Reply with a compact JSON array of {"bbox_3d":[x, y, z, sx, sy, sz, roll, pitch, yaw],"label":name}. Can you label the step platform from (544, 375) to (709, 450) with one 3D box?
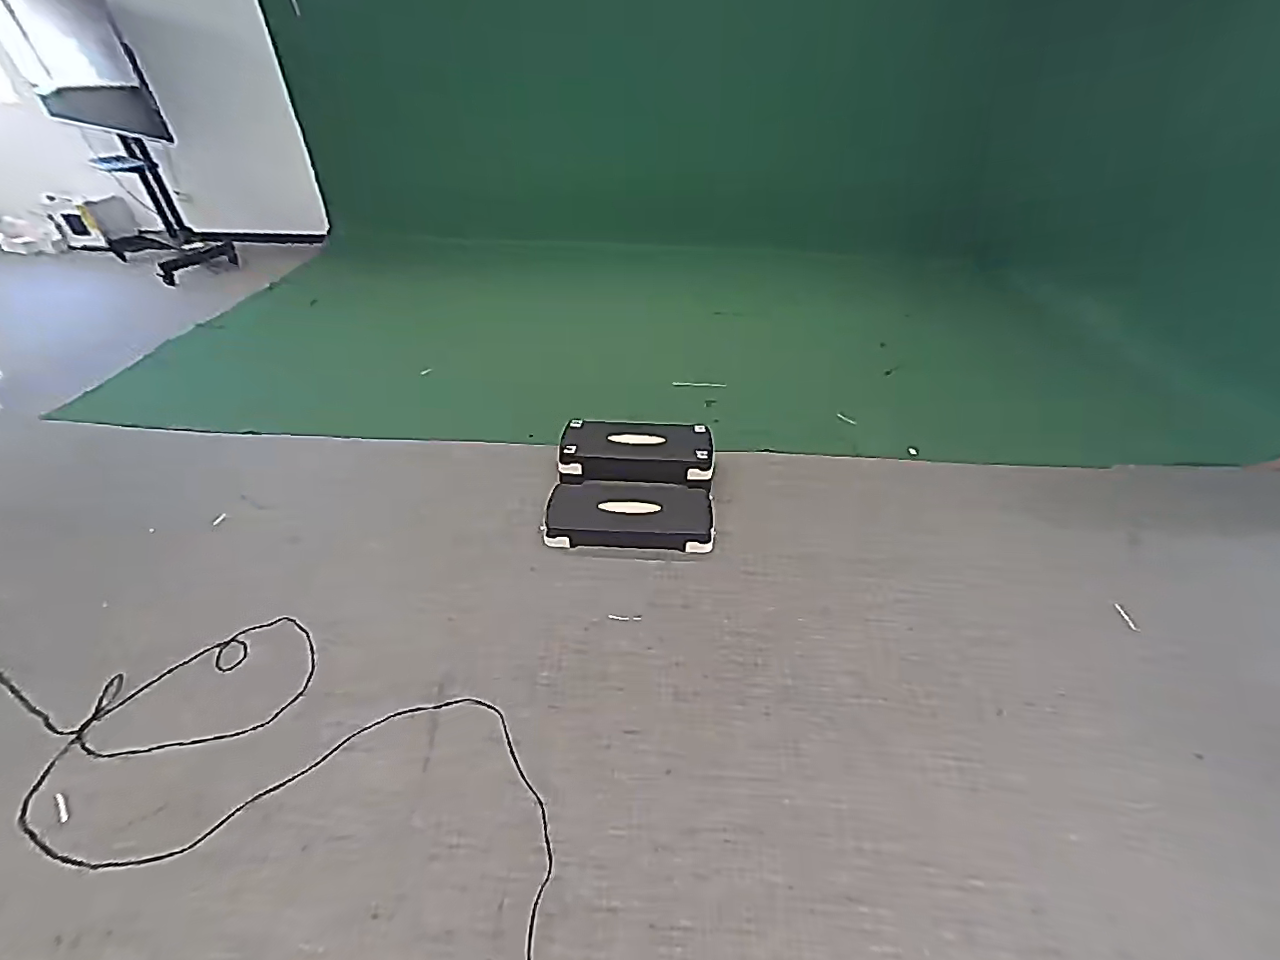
[{"bbox_3d":[-0.054,-0.287,2.305,0.684,0.204,0.286,2,40,2],"label":"step platform"}]
